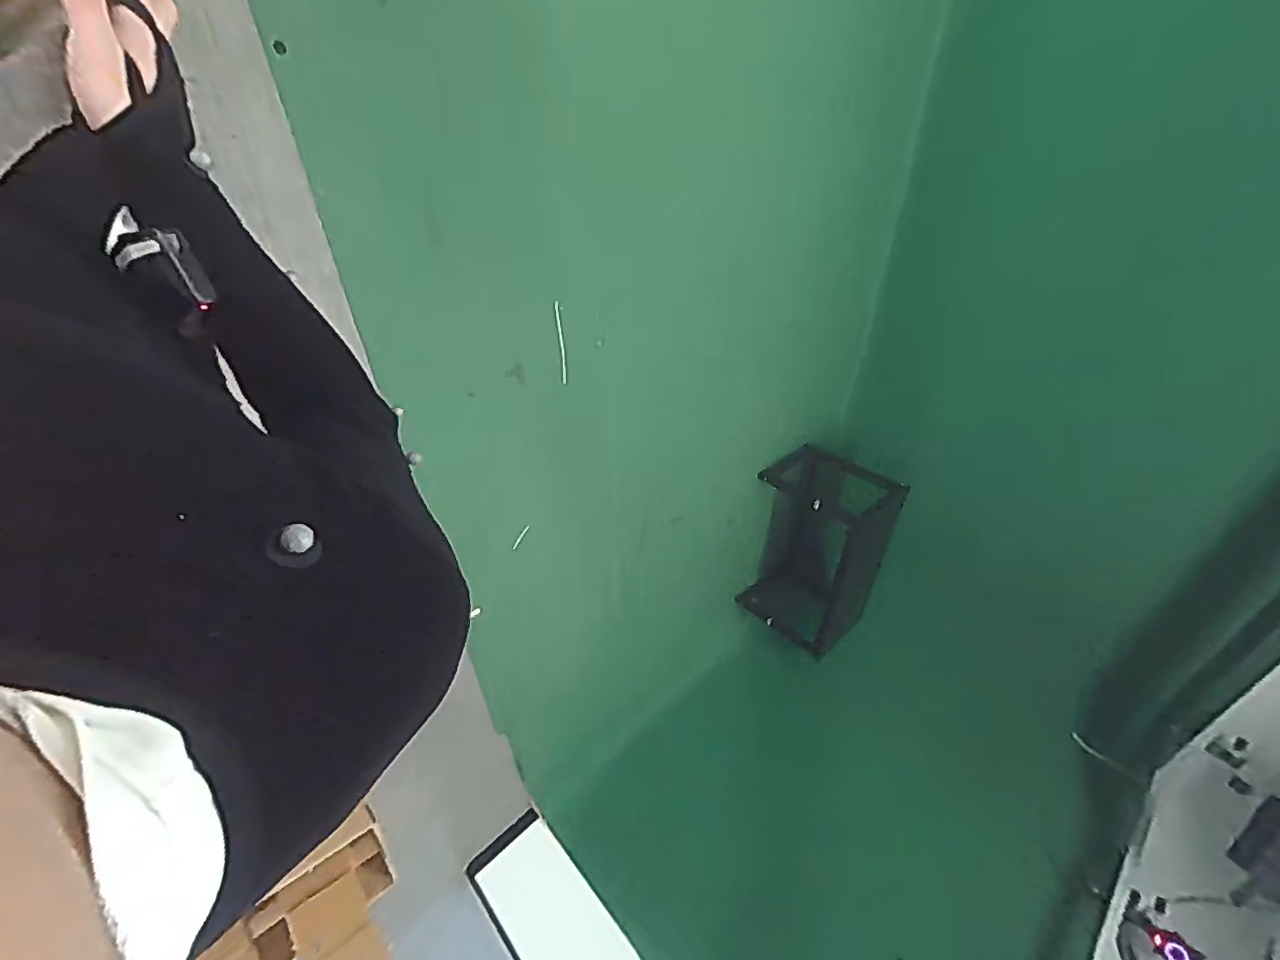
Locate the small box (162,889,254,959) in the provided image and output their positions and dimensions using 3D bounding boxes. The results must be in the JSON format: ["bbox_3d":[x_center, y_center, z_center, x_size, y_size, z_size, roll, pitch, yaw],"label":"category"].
[{"bbox_3d":[-1.172,1.273,1.475,0.168,0.176,0.179,-17,128,-39],"label":"small box"}]

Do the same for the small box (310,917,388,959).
[{"bbox_3d":[-0.759,1.316,1.418,0.179,0.176,0.168,-23,132,-36],"label":"small box"}]

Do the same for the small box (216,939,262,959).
[{"bbox_3d":[-1.063,1.343,1.376,0.179,0.176,0.168,-18,128,-38],"label":"small box"}]
